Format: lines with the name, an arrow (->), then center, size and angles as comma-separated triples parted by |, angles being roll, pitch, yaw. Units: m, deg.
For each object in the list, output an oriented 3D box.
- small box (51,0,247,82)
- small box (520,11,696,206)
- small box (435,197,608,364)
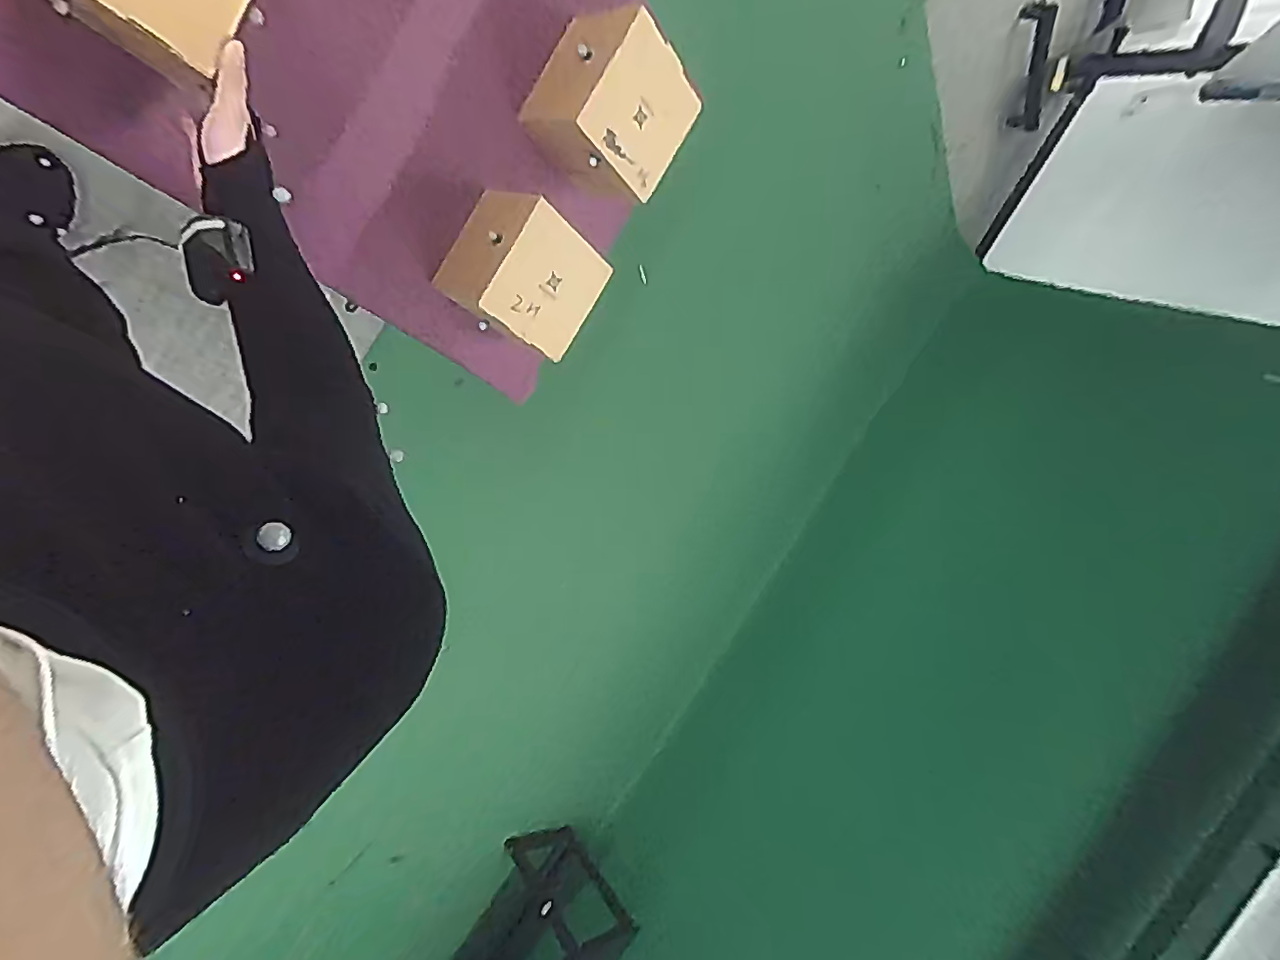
small box -> -0.444, -0.485, 0.461 | 0.168, 0.176, 0.179 | 24, 97, -52
small box -> -0.054, -0.557, 0.826 | 0.168, 0.176, 0.179 | 28, 95, -49
small box -> -0.189, -0.315, 0.847 | 0.168, 0.176, 0.179 | 31, 92, -49
